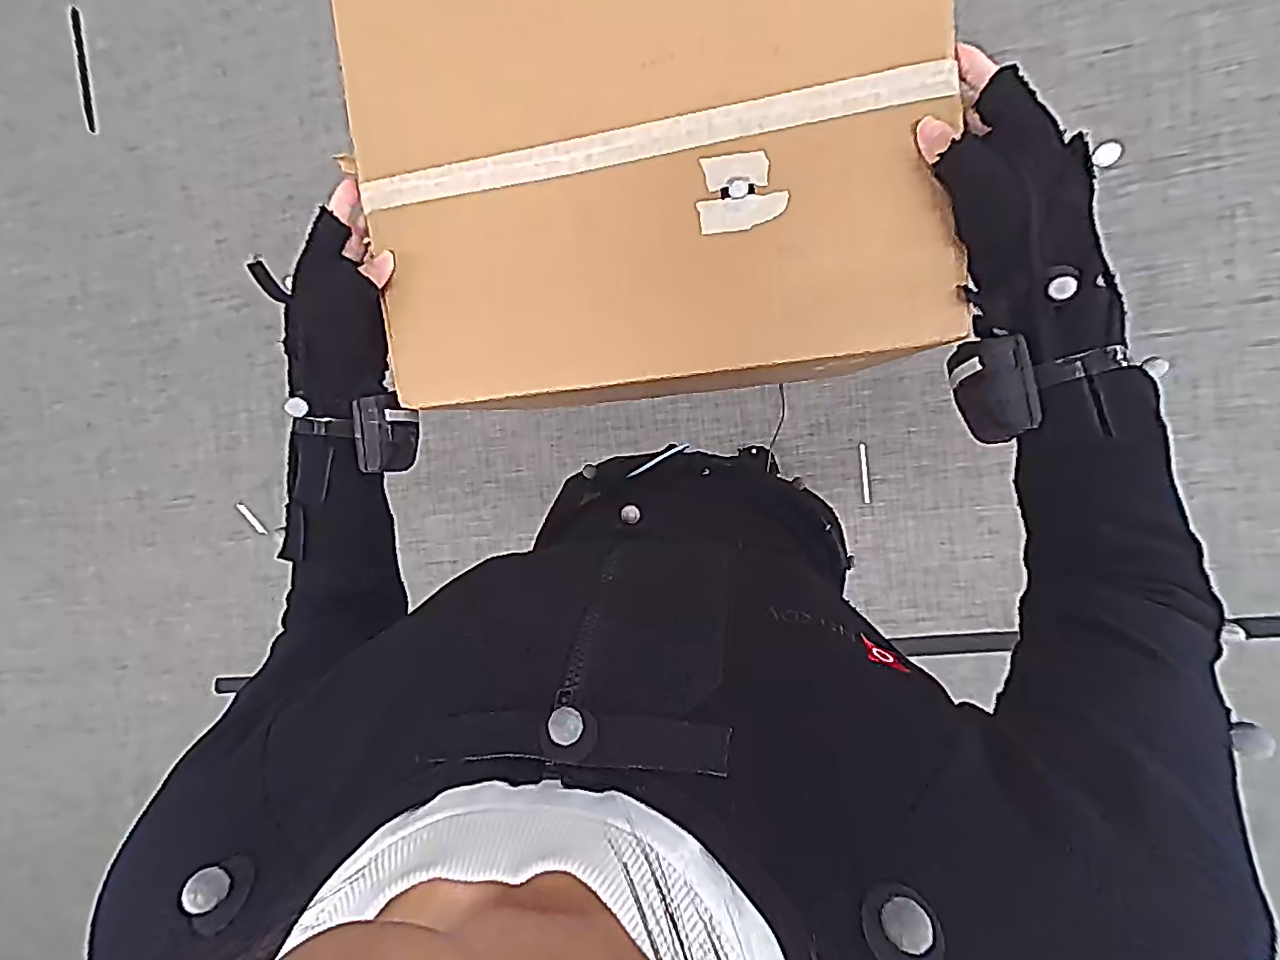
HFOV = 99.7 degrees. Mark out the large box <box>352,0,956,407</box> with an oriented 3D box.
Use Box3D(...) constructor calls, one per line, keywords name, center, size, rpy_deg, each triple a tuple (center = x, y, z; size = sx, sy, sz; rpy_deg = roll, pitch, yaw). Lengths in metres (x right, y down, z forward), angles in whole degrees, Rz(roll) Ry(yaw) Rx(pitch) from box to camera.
Box3D(name="large box", center=(0.020, -0.251, 0.526), size=(0.408, 0.320, 0.320), rpy_deg=(-6, 97, 9))
